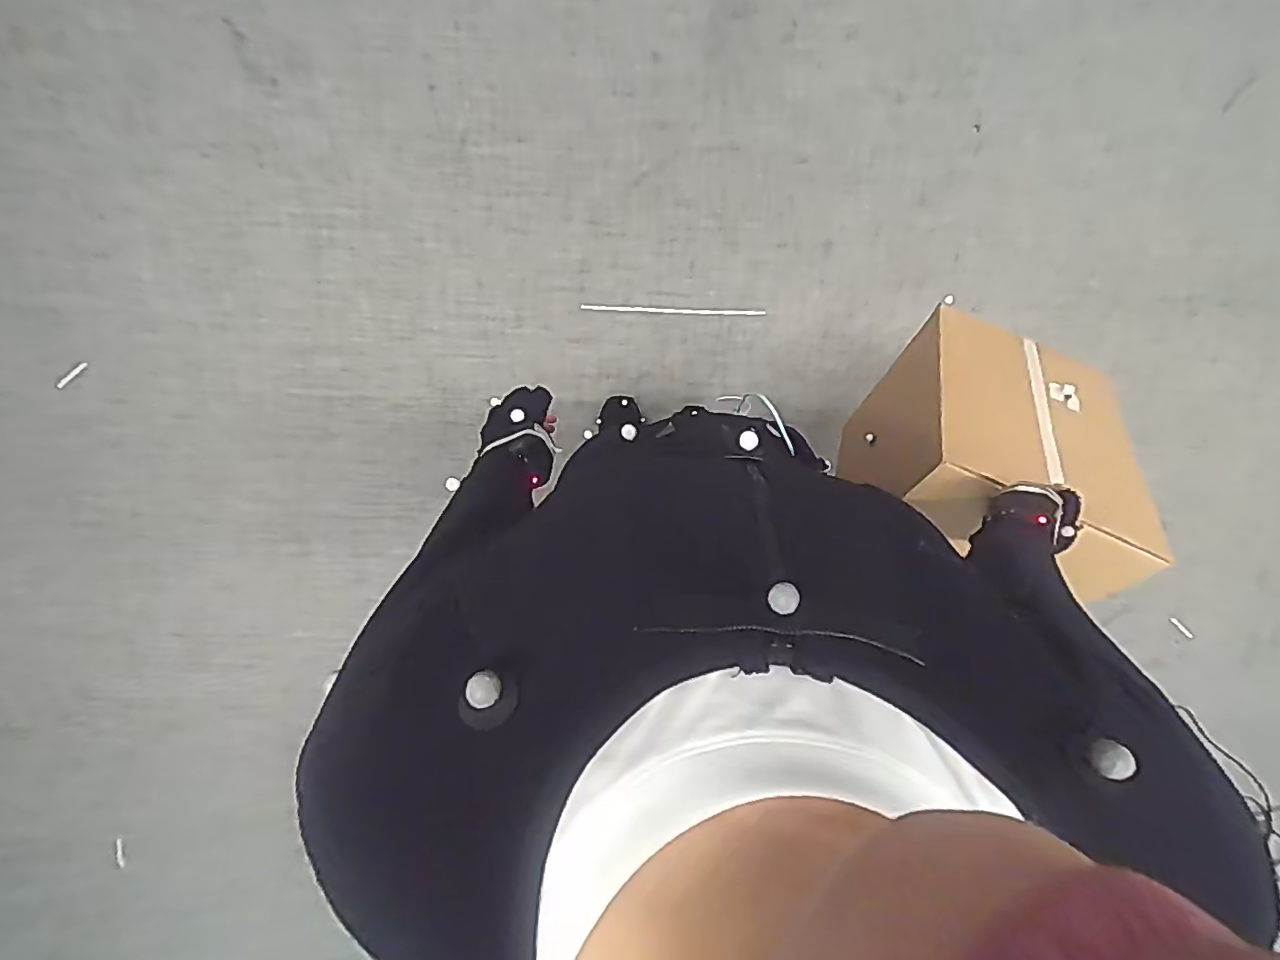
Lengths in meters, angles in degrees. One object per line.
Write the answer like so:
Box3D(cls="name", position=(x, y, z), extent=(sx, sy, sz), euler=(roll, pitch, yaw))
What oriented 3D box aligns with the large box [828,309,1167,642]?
Box3D(cls="large box", position=(0.547, -0.008, 0.915), extent=(0.320, 0.408, 0.320), euler=(25, 140, 1))
